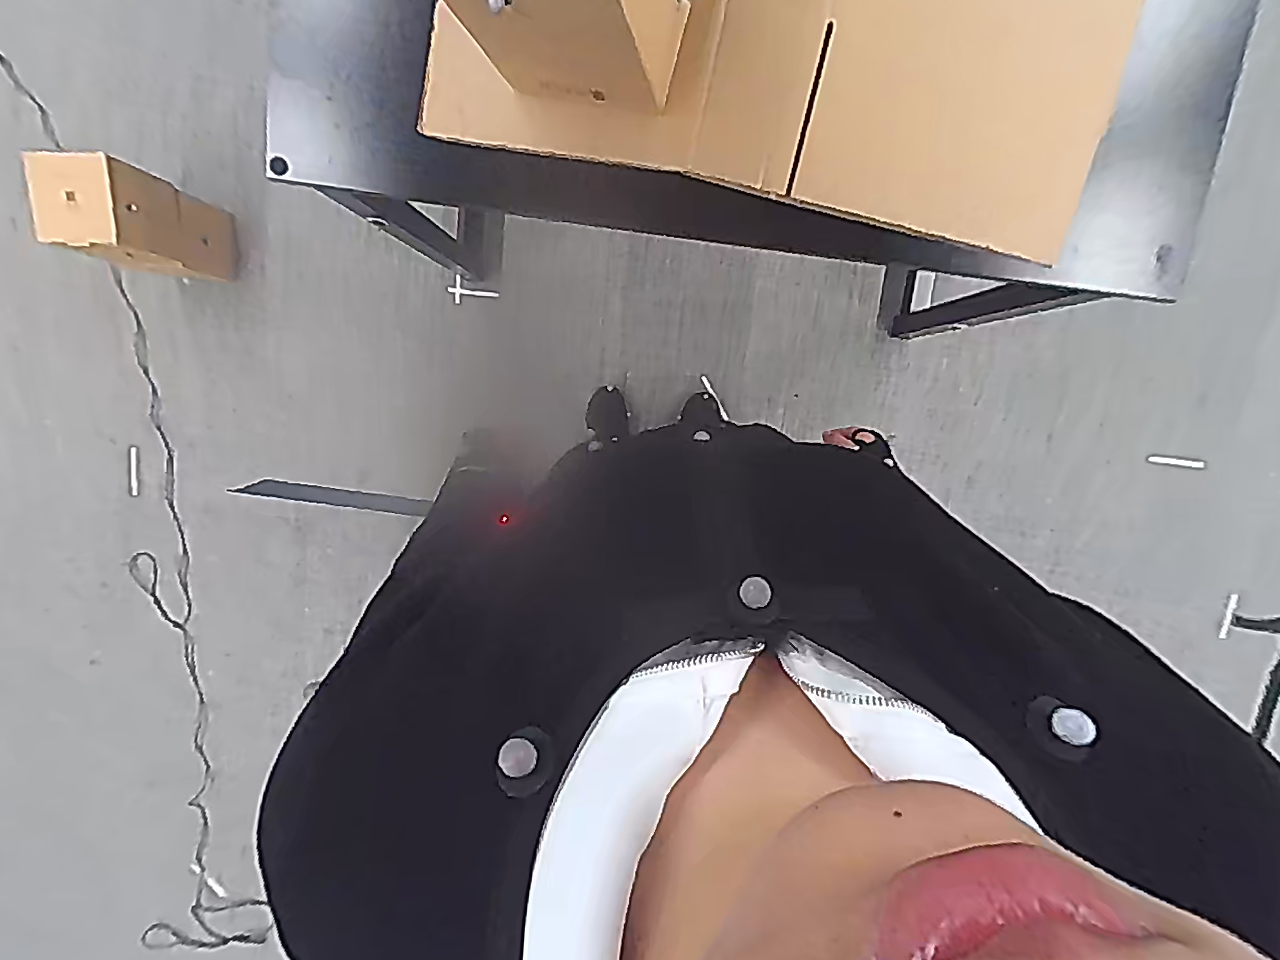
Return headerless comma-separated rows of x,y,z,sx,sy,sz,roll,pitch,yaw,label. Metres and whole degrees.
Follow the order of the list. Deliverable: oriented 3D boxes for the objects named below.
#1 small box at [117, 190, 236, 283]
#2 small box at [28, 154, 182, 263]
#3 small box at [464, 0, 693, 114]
-1.142,-0.599,1.336,0.168,0.176,0.179,3,100,0,small box
-1.145,-0.580,1.174,0.168,0.176,0.179,0,98,-1,small box
-0.050,-0.453,0.450,0.168,0.176,0.179,17,99,12,small box
